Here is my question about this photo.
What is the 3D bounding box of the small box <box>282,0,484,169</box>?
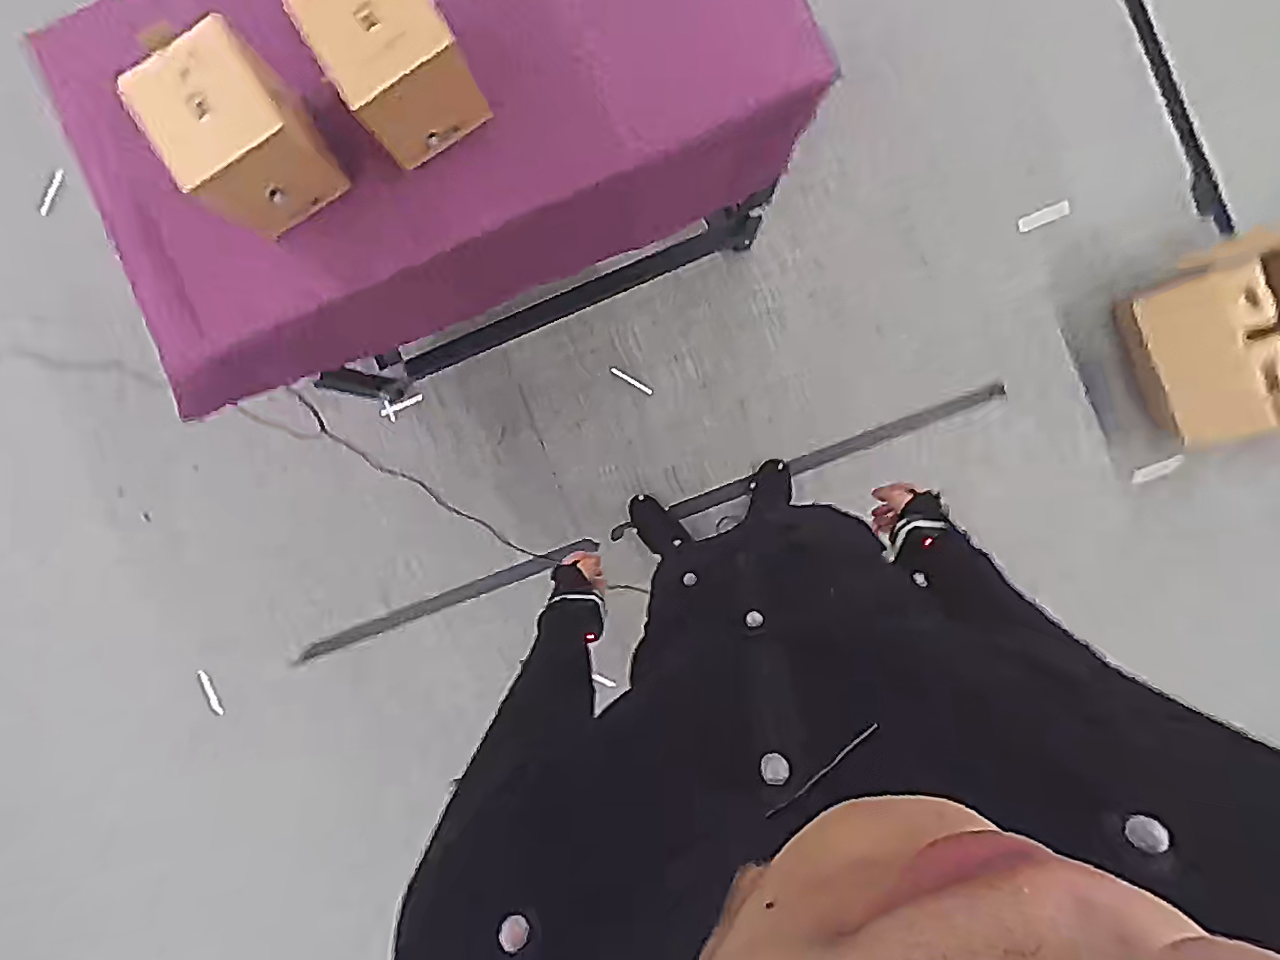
[{"bbox_3d":[-0.362,-0.609,0.794,0.168,0.176,0.179,-33,91,4],"label":"small box"}]

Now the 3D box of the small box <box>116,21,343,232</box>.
[{"bbox_3d":[-0.590,-0.502,0.805,0.168,0.176,0.179,-32,91,2],"label":"small box"}]
